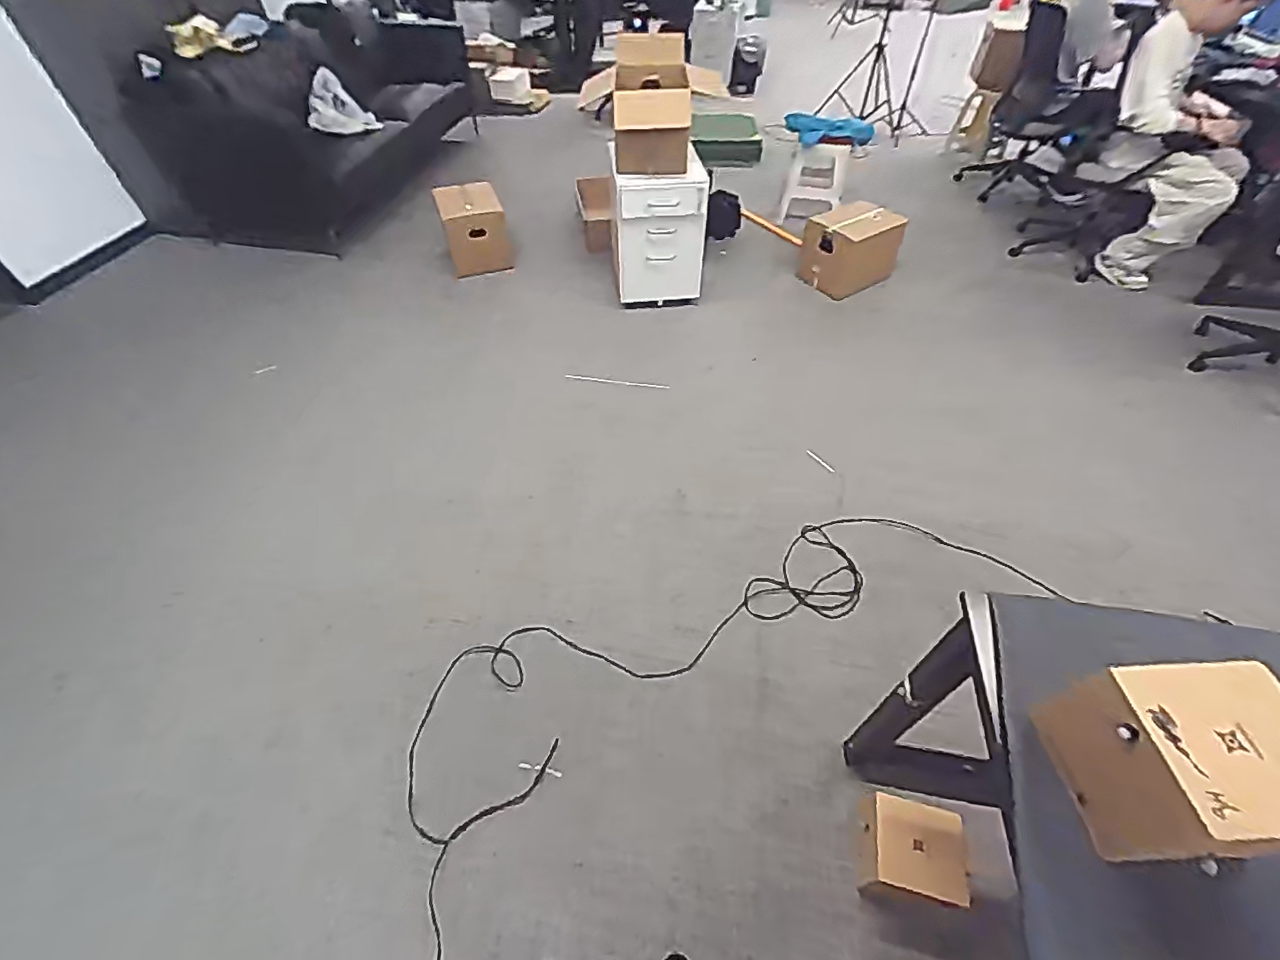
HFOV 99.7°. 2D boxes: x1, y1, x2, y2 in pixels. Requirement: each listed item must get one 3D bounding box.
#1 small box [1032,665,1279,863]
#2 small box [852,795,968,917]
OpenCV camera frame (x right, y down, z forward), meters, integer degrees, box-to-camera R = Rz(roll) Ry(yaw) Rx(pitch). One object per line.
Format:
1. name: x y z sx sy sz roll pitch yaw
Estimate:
1. small box: 0.606 0.323 0.613 0.179 0.176 0.168 -1 48 -1
2. small box: 0.566 0.809 1.159 0.179 0.176 0.168 12 49 10
